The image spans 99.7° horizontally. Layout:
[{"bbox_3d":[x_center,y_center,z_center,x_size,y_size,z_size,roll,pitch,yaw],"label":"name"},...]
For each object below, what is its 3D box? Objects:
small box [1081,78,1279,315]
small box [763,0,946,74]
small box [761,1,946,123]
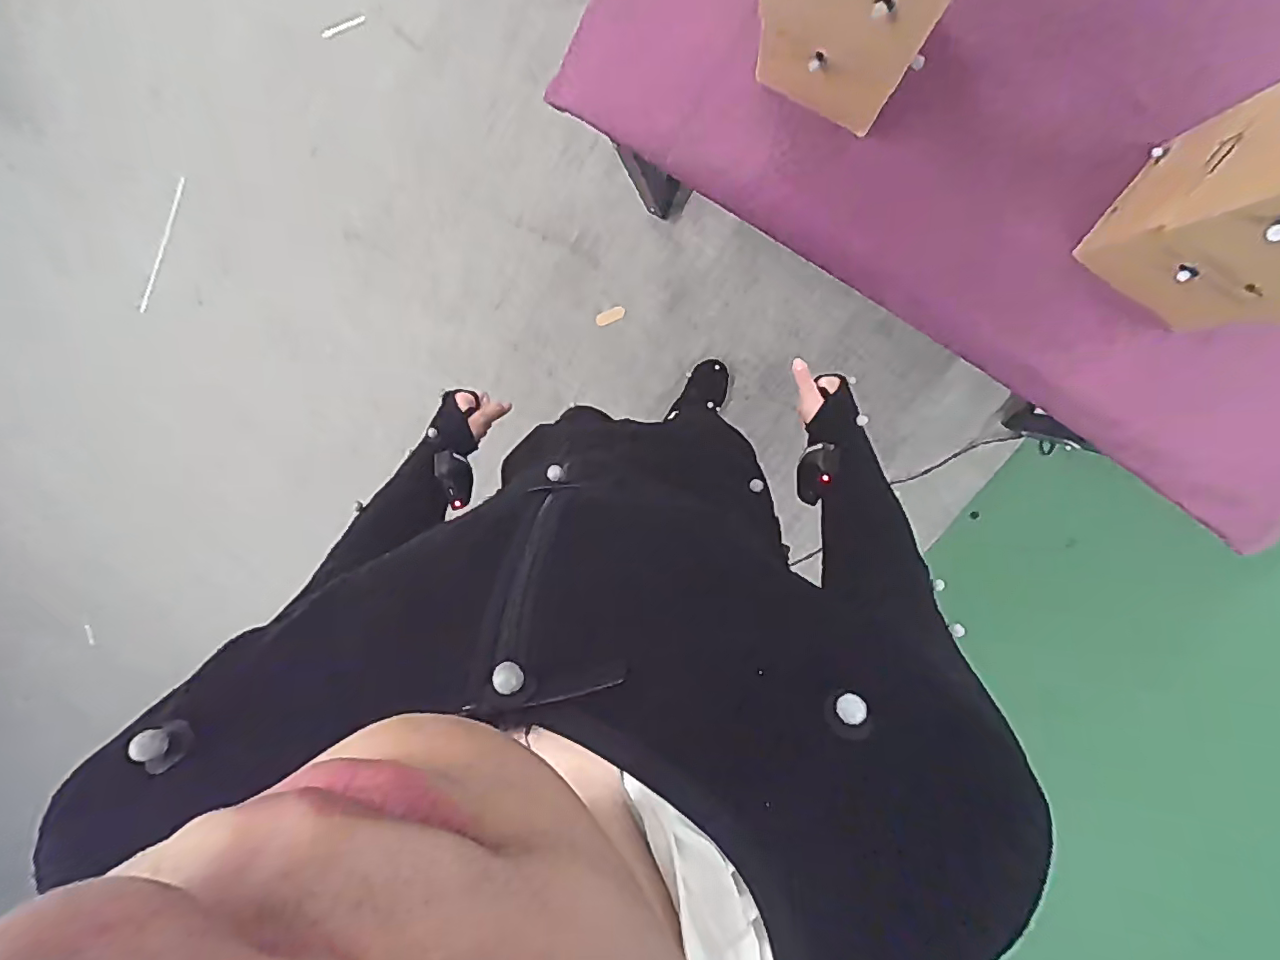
[{"bbox_3d":[0.687,-0.309,0.633,0.179,0.176,0.168,35,106,1],"label":"small box"},{"bbox_3d":[0.231,-0.525,0.498,0.179,0.176,0.168,33,106,2],"label":"small box"},{"bbox_3d":[0.265,-0.574,0.653,0.179,0.176,0.168,31,106,3],"label":"small box"}]
